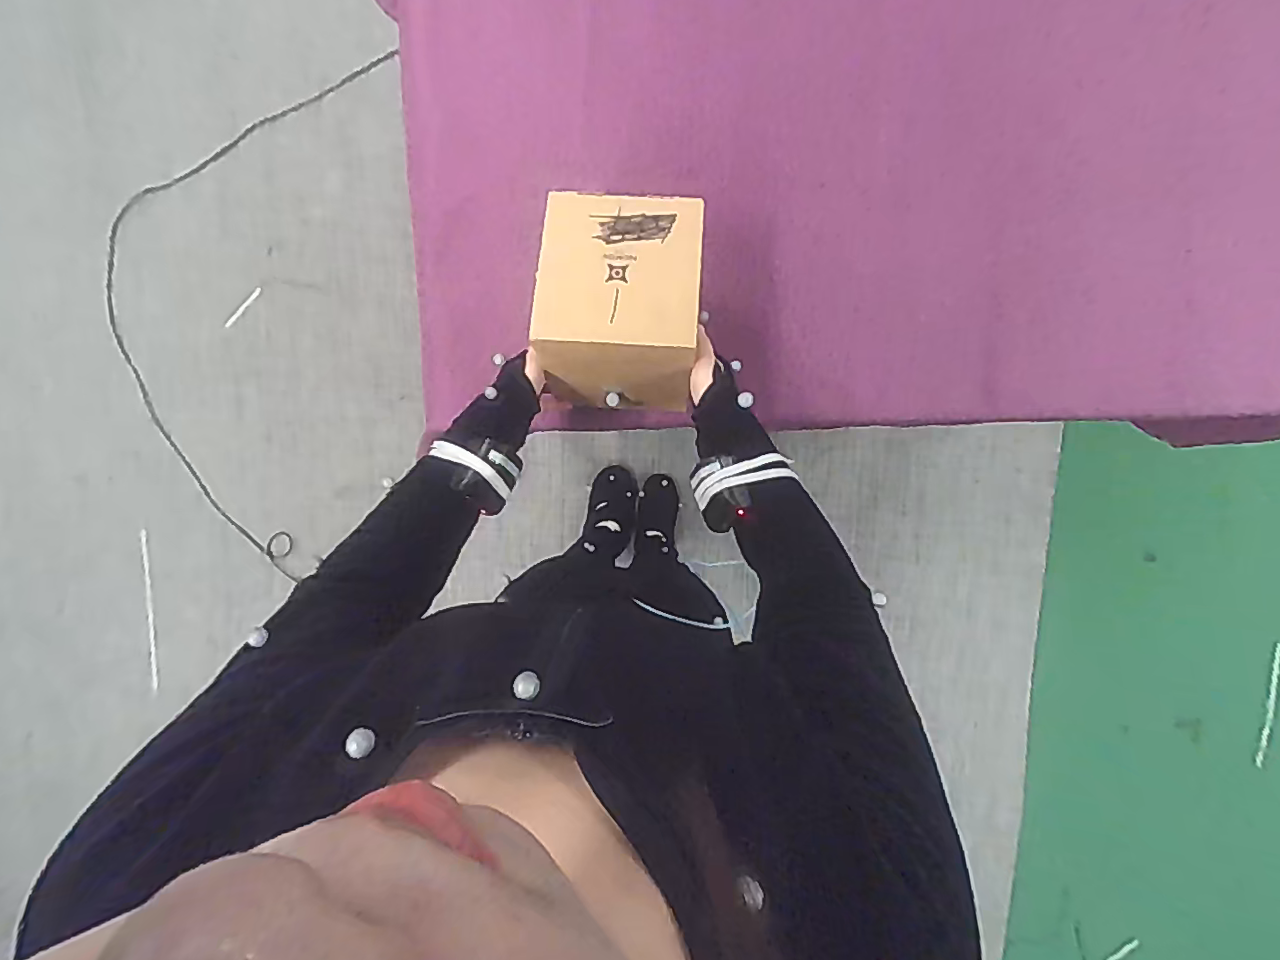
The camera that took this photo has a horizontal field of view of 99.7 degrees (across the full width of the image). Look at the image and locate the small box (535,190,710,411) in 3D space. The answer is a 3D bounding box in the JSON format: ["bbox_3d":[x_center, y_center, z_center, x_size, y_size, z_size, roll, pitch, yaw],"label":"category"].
[{"bbox_3d":[-0.015,-0.196,0.624,0.168,0.176,0.179,4,77,2],"label":"small box"}]
